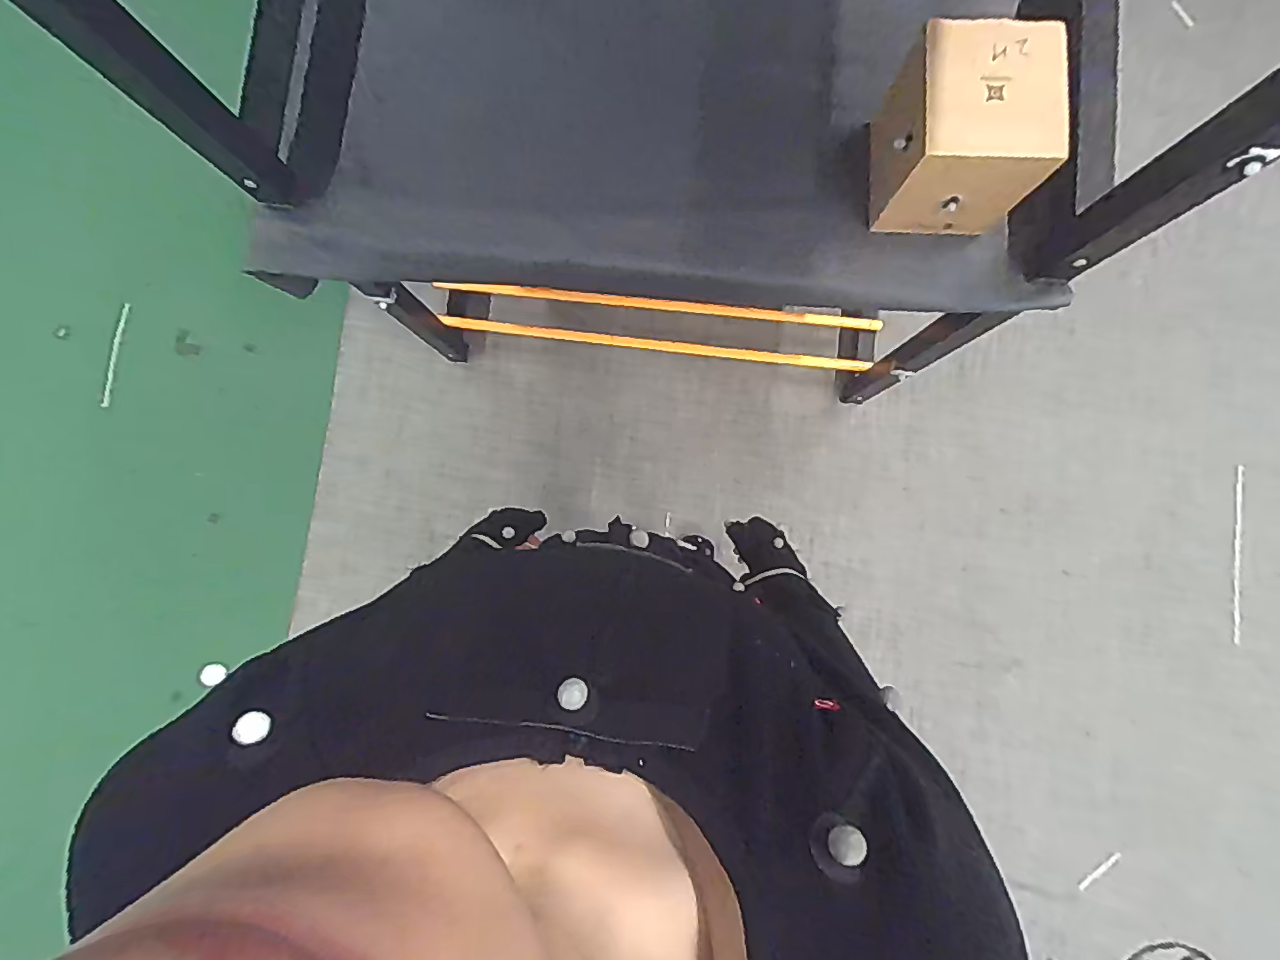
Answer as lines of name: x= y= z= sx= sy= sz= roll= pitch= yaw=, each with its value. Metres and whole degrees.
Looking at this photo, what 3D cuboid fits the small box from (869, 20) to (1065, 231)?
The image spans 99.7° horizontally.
small box: x=0.419 y=-0.455 z=0.719 sx=0.168 sy=0.176 sz=0.179 roll=2 pitch=85 yaw=1
